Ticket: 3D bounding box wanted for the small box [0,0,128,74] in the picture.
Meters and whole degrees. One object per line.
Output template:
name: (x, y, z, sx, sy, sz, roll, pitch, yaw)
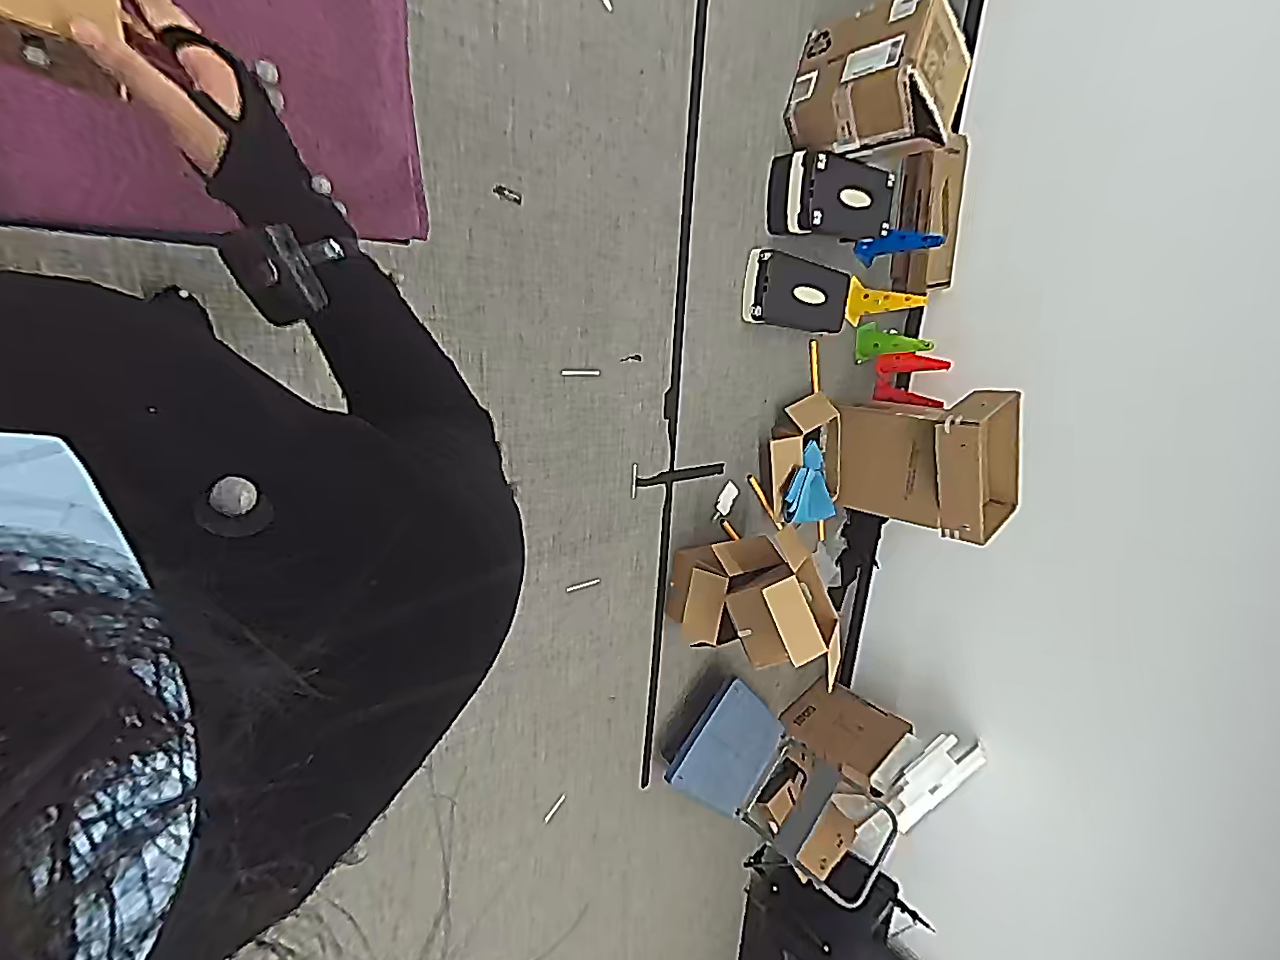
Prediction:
small box: (-0.416, -0.368, 0.307, 0.179, 0.176, 0.168, -4, 112, -45)
